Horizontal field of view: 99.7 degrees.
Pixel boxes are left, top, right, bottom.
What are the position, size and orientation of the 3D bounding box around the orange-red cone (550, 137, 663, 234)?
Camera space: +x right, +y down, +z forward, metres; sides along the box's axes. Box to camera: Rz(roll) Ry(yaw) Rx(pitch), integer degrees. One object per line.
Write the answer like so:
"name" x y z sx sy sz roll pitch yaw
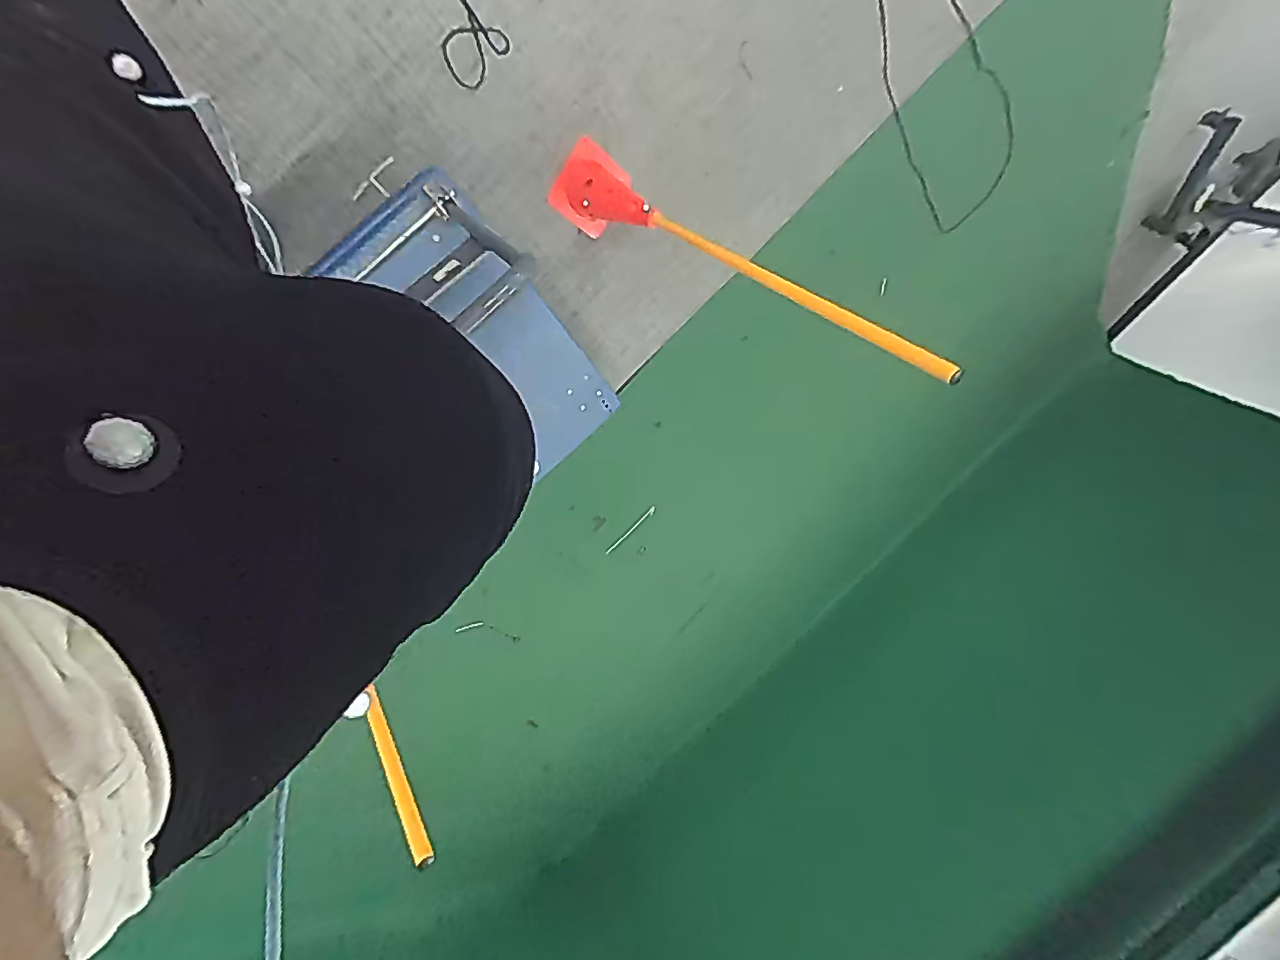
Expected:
"orange-red cone" -0.052 -0.737 1.428 0.198 0.360 0.199 21 109 -47
